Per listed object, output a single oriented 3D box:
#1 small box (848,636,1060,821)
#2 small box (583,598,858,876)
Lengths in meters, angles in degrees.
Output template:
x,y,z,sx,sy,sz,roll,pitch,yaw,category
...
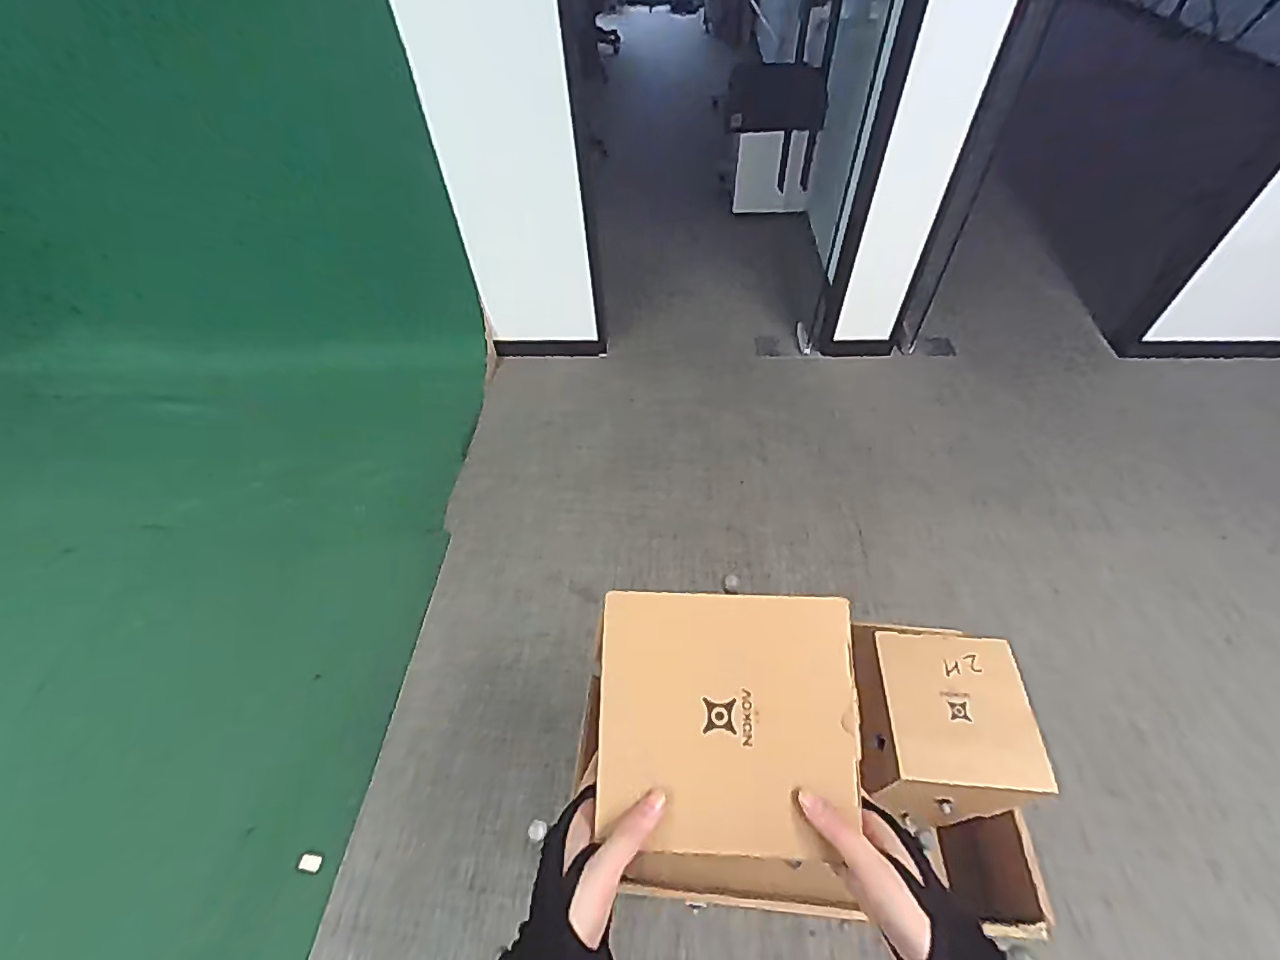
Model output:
x,y,z,sx,sy,sz,roll,pitch,yaw,category
0.378,0.321,0.692,0.168,0.176,0.179,3,51,6,small box
0.057,0.186,0.438,0.179,0.176,0.168,1,76,3,small box
